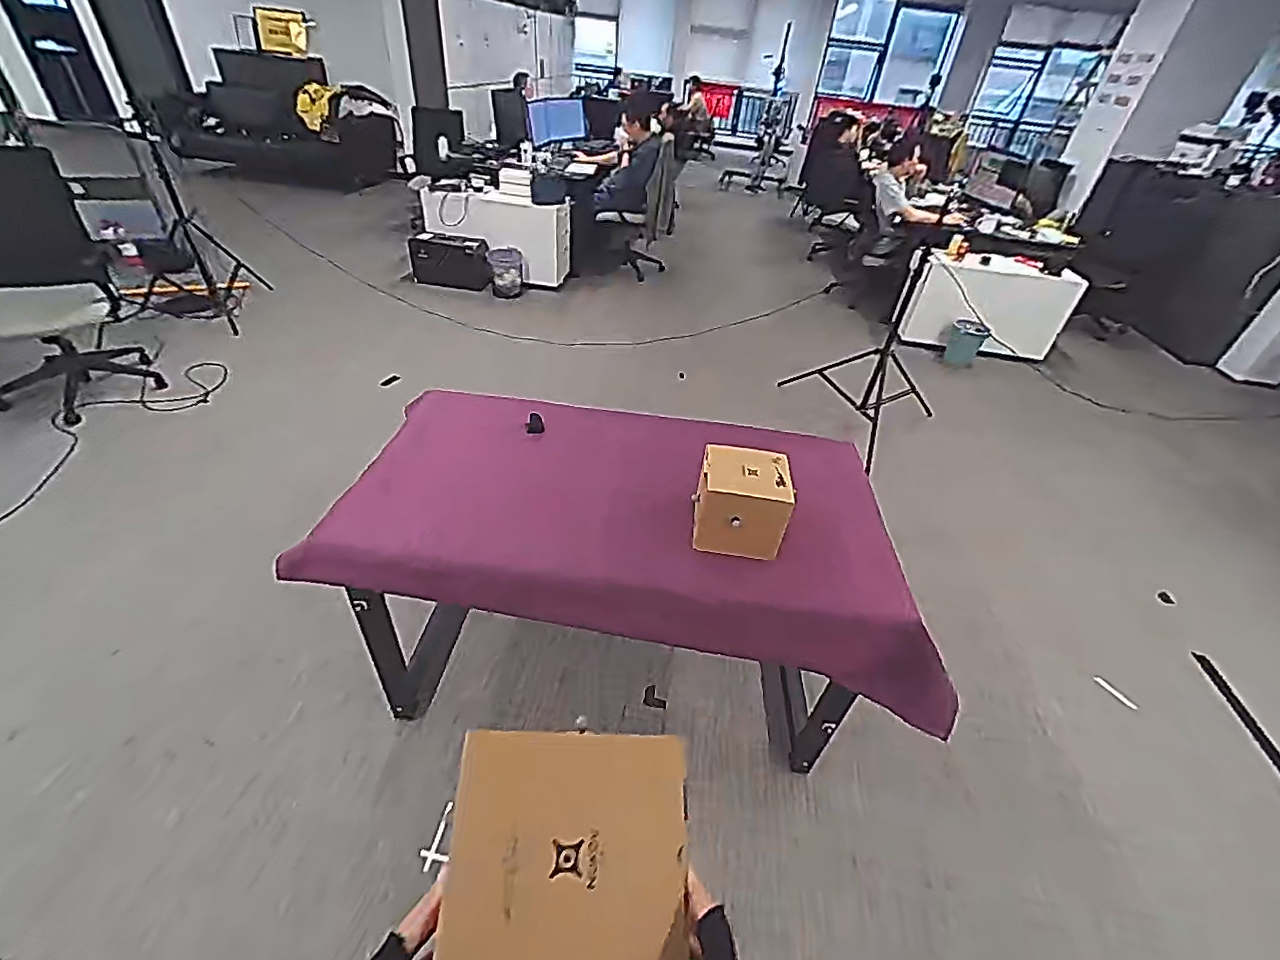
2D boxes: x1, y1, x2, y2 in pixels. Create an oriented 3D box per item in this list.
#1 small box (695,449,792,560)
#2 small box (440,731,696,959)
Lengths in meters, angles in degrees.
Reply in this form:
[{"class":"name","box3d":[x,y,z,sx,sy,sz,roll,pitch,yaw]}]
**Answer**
[{"class":"small box","box3d":[0.214,0.054,1.160,0.179,0.176,0.168,7,38,2]},{"class":"small box","box3d":[-0.063,0.310,0.463,0.179,0.176,0.168,5,61,-11]}]
